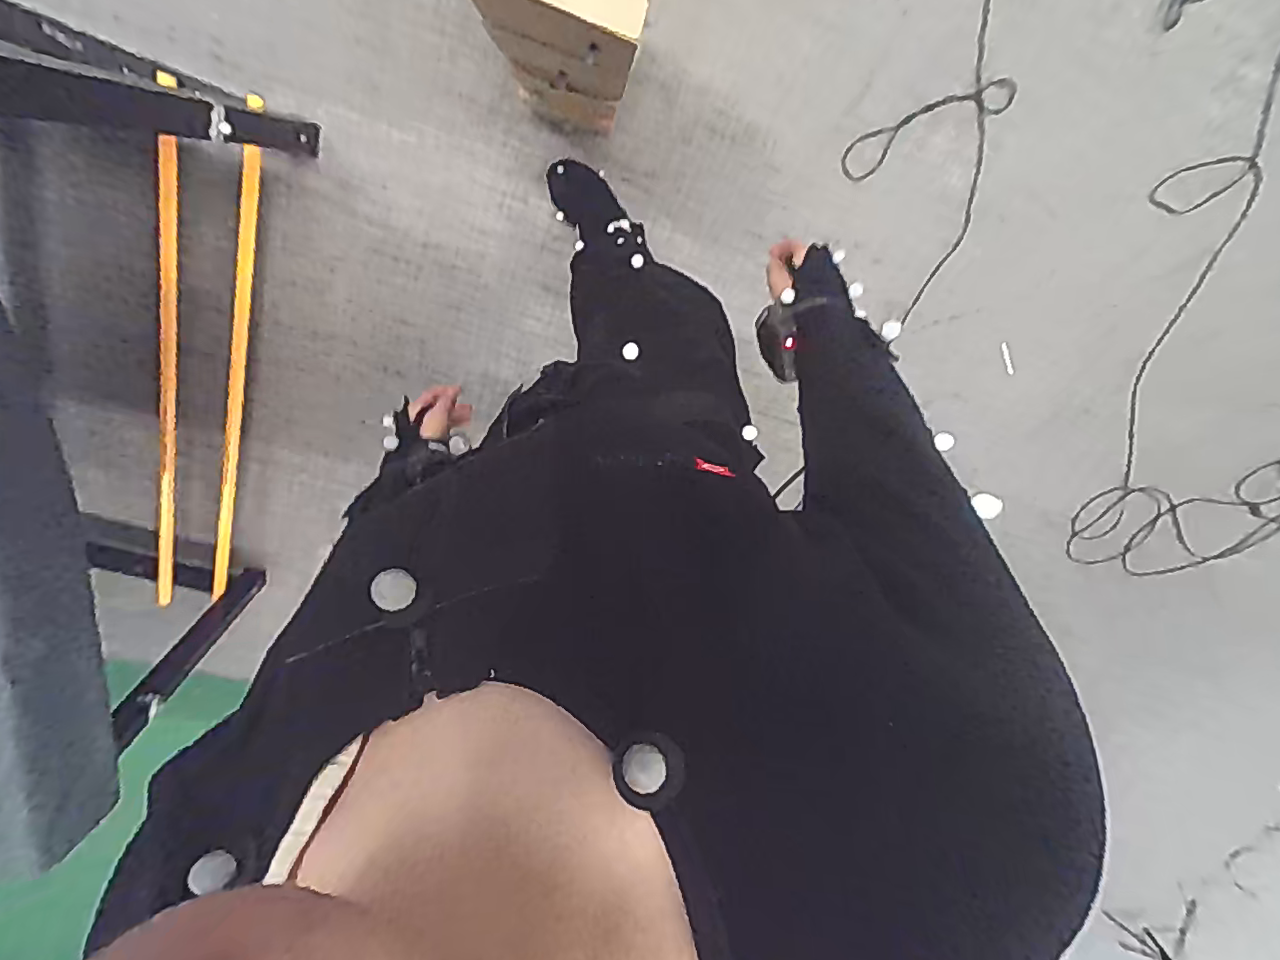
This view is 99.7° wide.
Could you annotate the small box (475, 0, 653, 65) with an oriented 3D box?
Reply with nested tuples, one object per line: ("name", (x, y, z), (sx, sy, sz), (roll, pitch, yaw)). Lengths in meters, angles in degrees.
("small box", (-0.063, -0.521, 0.504), (0.179, 0.176, 0.168), (14, 116, -11))

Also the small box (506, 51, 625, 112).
("small box", (-0.089, -0.671, 0.794), (0.168, 0.176, 0.179), (13, 116, -11))

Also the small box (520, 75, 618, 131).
("small box", (-0.104, -0.739, 0.942), (0.168, 0.176, 0.179), (13, 117, -10))

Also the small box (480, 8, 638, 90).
("small box", (-0.078, -0.597, 0.647), (0.179, 0.176, 0.168), (13, 116, -12))
